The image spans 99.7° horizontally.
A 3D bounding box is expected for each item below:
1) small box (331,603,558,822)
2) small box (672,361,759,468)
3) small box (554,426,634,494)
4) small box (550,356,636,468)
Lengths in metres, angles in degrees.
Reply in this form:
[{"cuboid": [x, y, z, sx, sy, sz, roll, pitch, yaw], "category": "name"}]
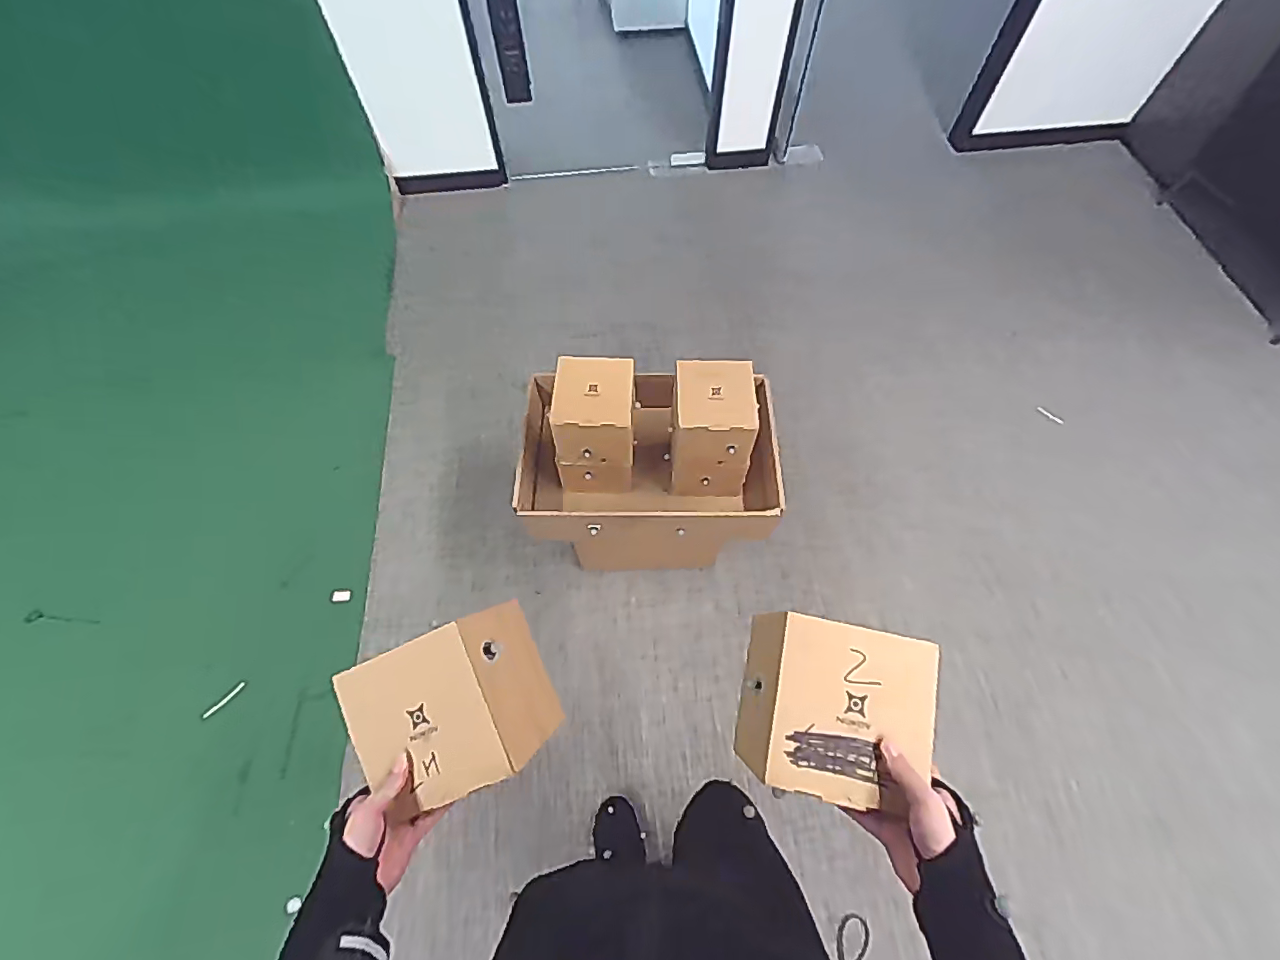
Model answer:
[{"cuboid": [-0.223, 0.260, 0.654, 0.168, 0.176, 0.179, -25, 82, 8], "category": "small box"}, {"cuboid": [0.158, -0.137, 1.182, 0.168, 0.176, 0.179, 1, 61, 0], "category": "small box"}, {"cuboid": [-0.107, -0.074, 1.335, 0.179, 0.176, 0.168, 2, 62, 0], "category": "small box"}, {"cuboid": [-0.099, -0.147, 1.188, 0.168, 0.176, 0.179, 3, 62, 0], "category": "small box"}]
